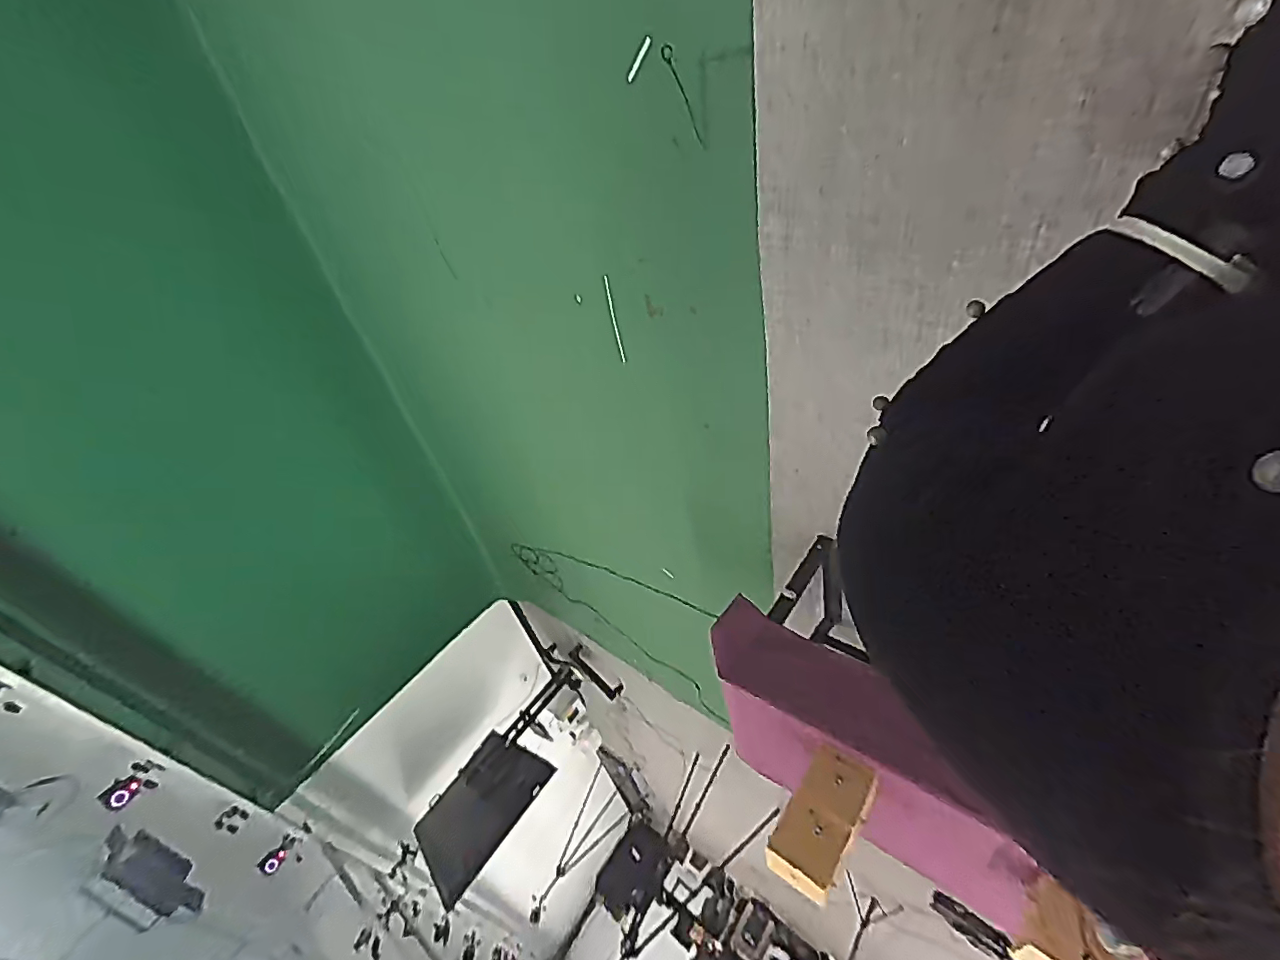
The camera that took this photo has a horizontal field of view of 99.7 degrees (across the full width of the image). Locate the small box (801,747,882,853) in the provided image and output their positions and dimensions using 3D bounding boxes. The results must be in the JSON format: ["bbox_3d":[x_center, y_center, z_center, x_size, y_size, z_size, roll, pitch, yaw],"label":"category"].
[{"bbox_3d":[0.568,0.897,1.528,0.168,0.176,0.179,20,141,35],"label":"small box"}]

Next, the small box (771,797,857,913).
[{"bbox_3d":[0.467,0.999,1.450,0.168,0.176,0.179,20,139,35],"label":"small box"}]

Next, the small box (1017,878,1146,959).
[{"bbox_3d":[0.991,1.048,1.214,0.179,0.176,0.168,22,142,34],"label":"small box"}]
